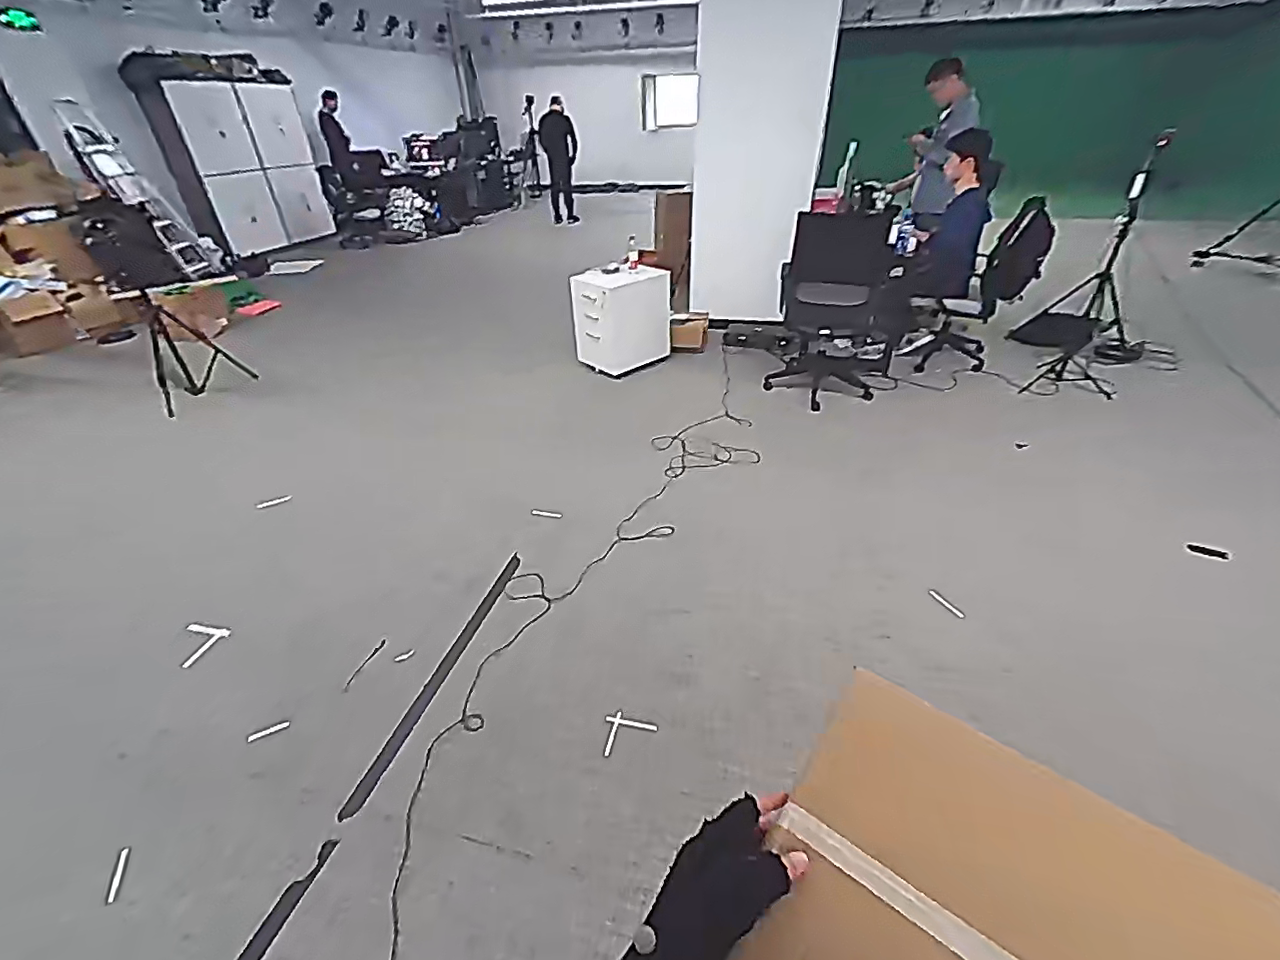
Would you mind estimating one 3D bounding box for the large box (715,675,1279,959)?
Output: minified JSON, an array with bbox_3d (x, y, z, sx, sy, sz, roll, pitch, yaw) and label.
[{"bbox_3d":[0.307,0.466,0.506,0.408,0.320,0.320,25,58,26],"label":"large box"}]
